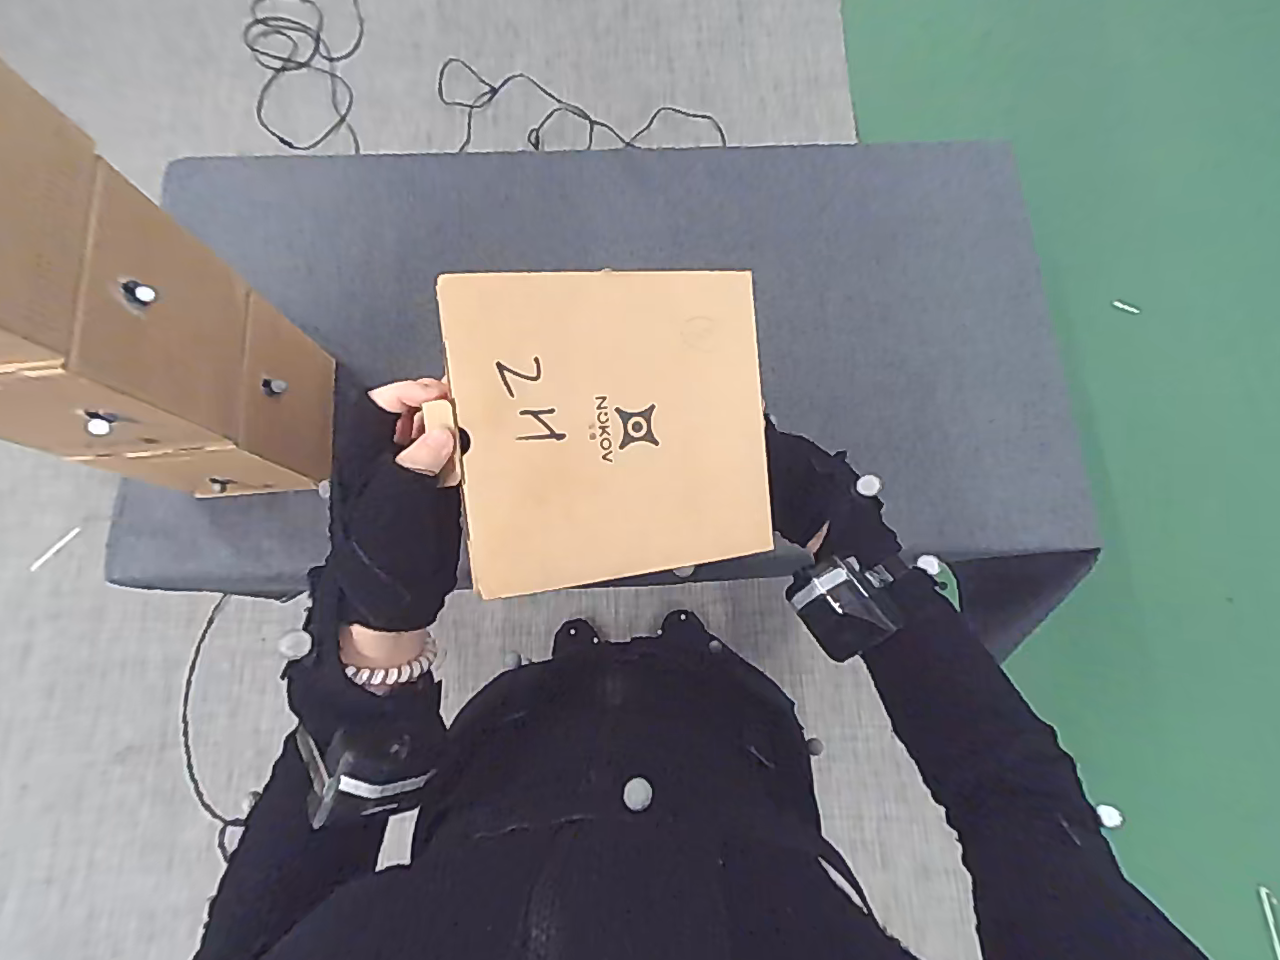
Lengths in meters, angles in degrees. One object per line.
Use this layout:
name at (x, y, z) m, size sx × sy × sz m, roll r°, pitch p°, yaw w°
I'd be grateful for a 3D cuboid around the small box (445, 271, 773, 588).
small box at (-0.029, -0.036, 0.375) m, size 0.179 × 0.176 × 0.168 m, roll -6°, pitch 94°, yaw -13°

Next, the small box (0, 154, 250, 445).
small box at (-0.468, -0.133, 0.454) m, size 0.168 × 0.176 × 0.179 m, roll -4°, pitch 76°, yaw -3°

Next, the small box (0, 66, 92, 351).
small box at (-0.466, -0.178, 0.297) m, size 0.168 × 0.176 × 0.179 m, roll -5°, pitch 76°, yaw -3°

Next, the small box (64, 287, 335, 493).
small box at (-0.472, -0.092, 0.612) m, size 0.168 × 0.176 × 0.179 m, roll -5°, pitch 77°, yaw -2°
